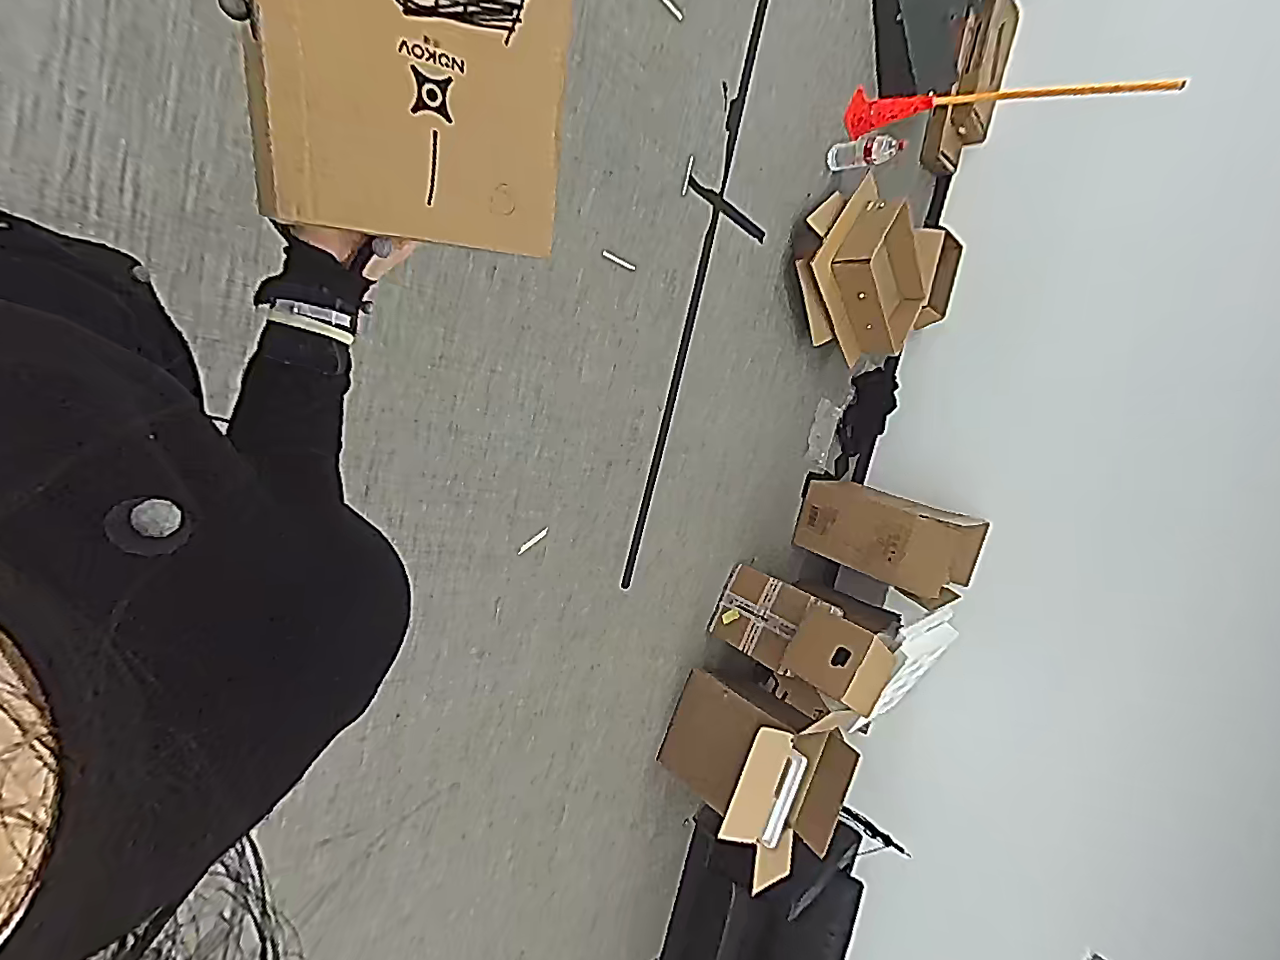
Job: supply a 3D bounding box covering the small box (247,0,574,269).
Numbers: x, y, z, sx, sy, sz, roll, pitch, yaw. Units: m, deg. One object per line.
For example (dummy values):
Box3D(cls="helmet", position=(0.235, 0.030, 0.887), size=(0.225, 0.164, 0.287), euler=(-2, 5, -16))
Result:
Box3D(cls="small box", position=(-0.165, -0.258, 0.377), size=(0.168, 0.176, 0.179), euler=(-7, 117, -36))
